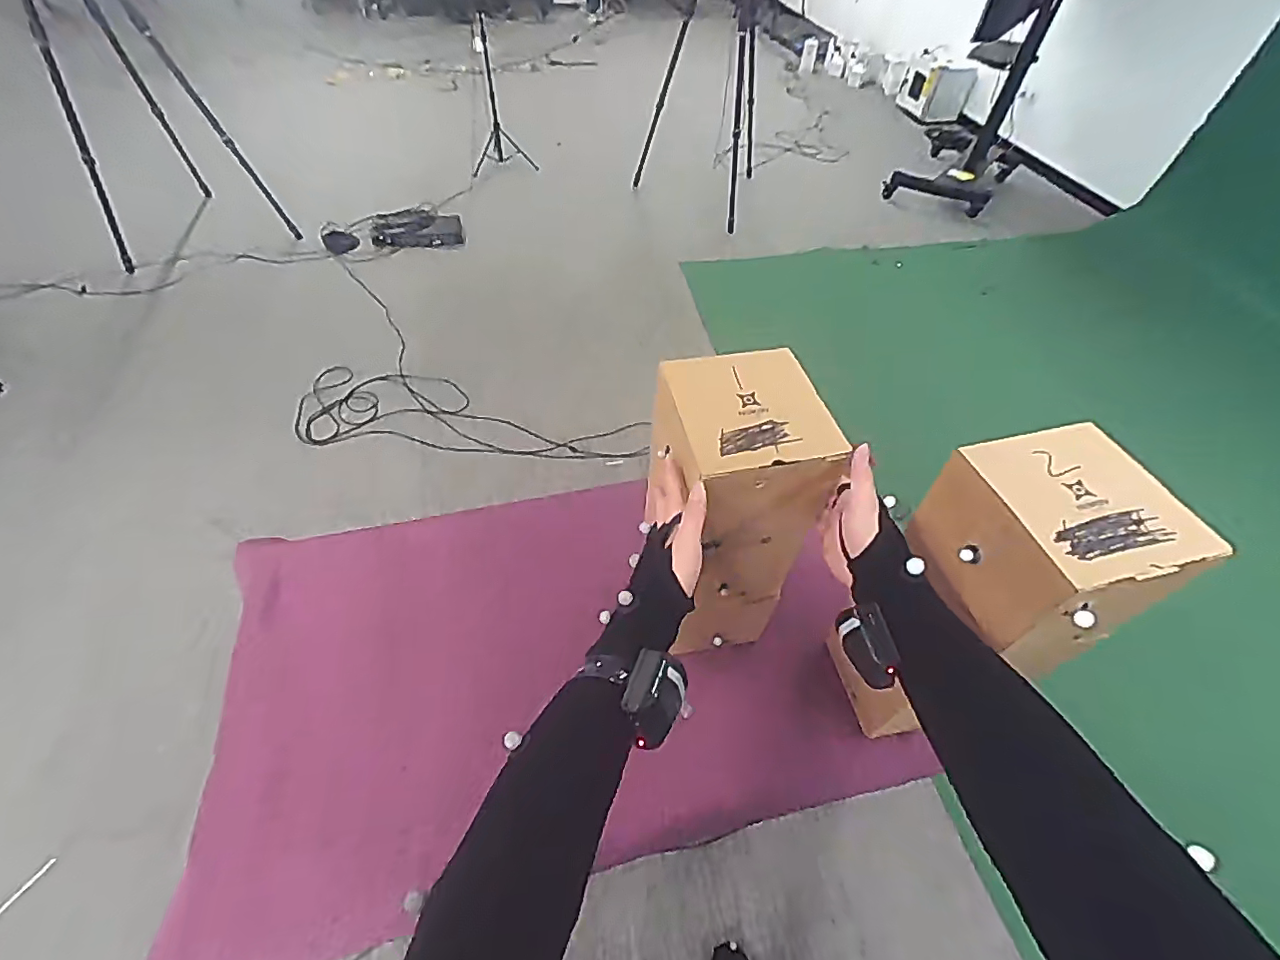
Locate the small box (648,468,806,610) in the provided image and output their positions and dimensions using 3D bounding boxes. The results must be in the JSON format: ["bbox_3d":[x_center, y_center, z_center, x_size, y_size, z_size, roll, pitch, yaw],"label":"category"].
[{"bbox_3d":[0.111,0.064,0.787,0.168,0.176,0.179,-9,53,-10],"label":"small box"}]

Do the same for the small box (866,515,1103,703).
[{"bbox_3d":[0.429,0.171,0.715,0.168,0.176,0.179,-8,52,-7],"label":"small box"}]

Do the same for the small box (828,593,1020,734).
[{"bbox_3d":[0.423,0.277,0.839,0.179,0.176,0.168,-7,51,-8],"label":"small box"}]

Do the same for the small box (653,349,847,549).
[{"bbox_3d":[0.115,-0.031,0.653,0.168,0.176,0.179,-8,52,-10],"label":"small box"}]

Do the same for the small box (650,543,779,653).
[{"bbox_3d":[0.113,0.168,0.912,0.168,0.176,0.179,-7,52,-8],"label":"small box"}]
